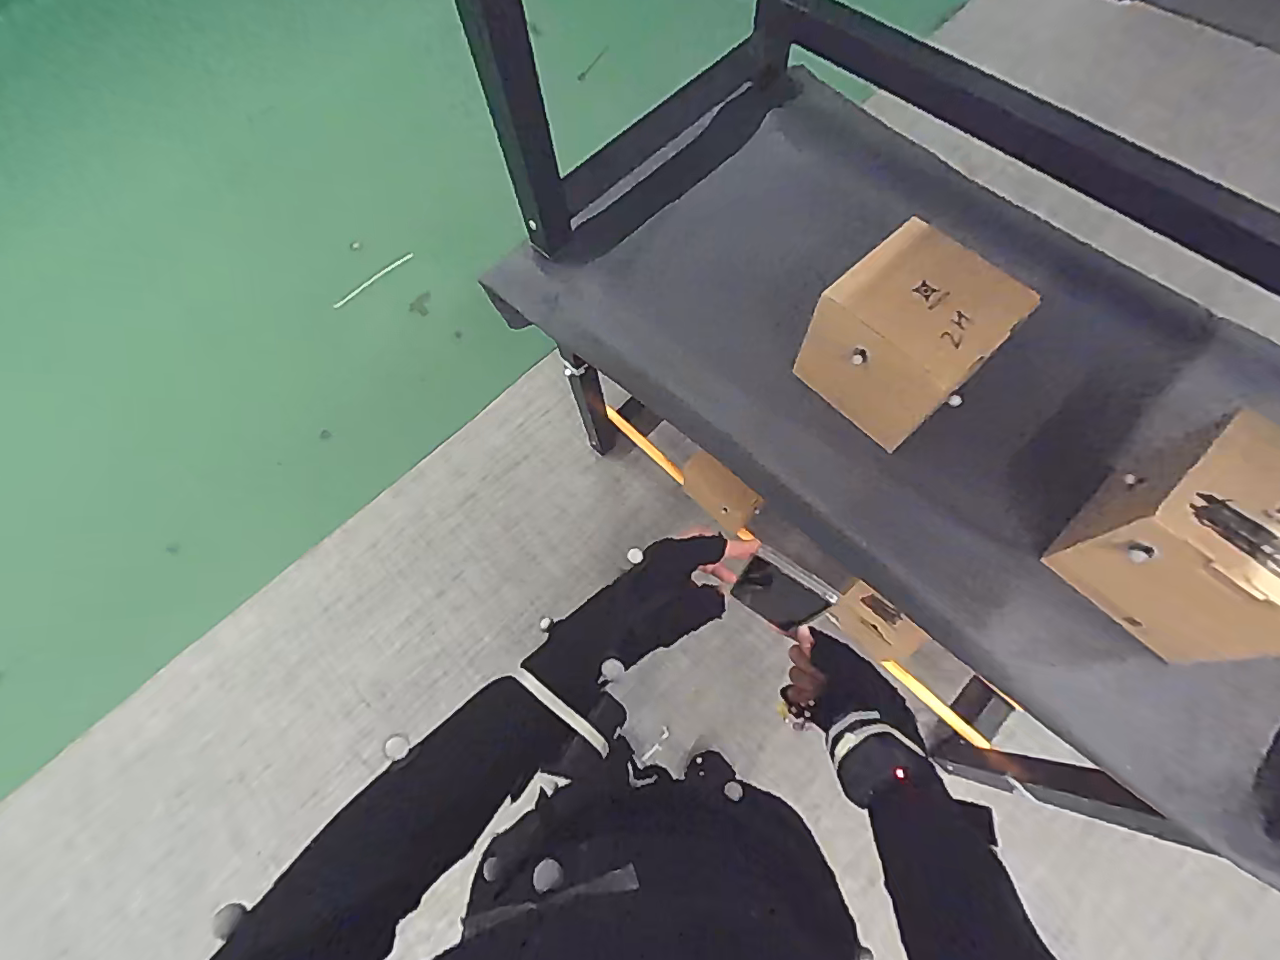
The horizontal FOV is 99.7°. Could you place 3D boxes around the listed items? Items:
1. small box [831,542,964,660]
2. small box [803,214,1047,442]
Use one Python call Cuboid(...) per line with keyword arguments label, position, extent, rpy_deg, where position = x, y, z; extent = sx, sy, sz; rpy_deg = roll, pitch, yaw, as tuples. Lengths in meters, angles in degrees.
Cuboid(label="small box", position=(0.534, 0.266, 1.154), extent=(0.179, 0.176, 0.168), rpy_deg=(-40, 72, -11))
Cuboid(label="small box", position=(0.330, -0.178, 0.670), extent=(0.168, 0.176, 0.179), rpy_deg=(-41, 71, -12))
